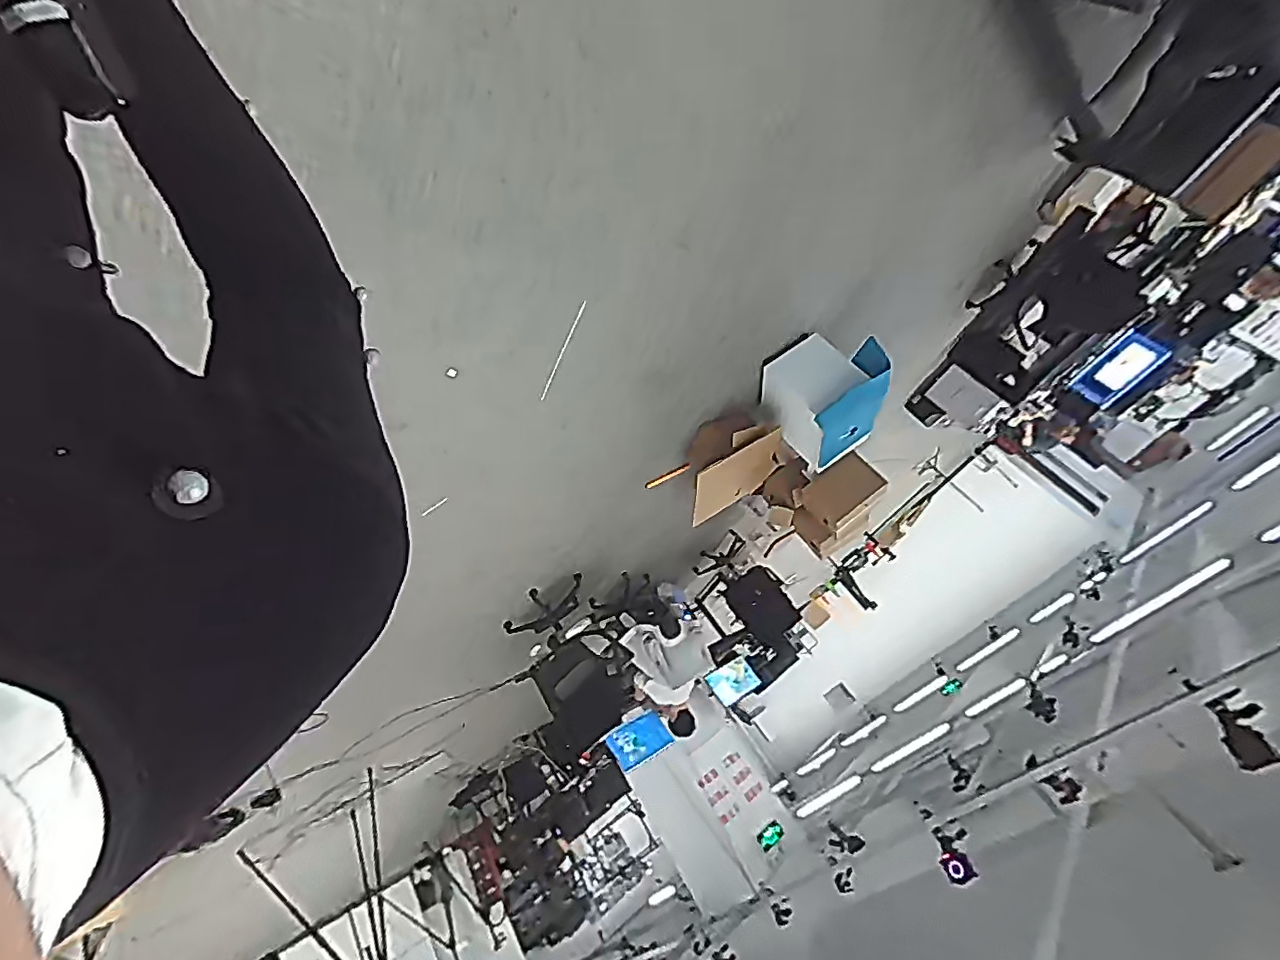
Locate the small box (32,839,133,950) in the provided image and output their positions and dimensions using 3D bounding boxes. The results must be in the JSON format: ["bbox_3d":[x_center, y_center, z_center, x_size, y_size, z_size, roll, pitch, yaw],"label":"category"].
[{"bbox_3d":[-1.523,1.126,1.480,0.168,0.176,0.179,-12,144,-41],"label":"small box"}]
